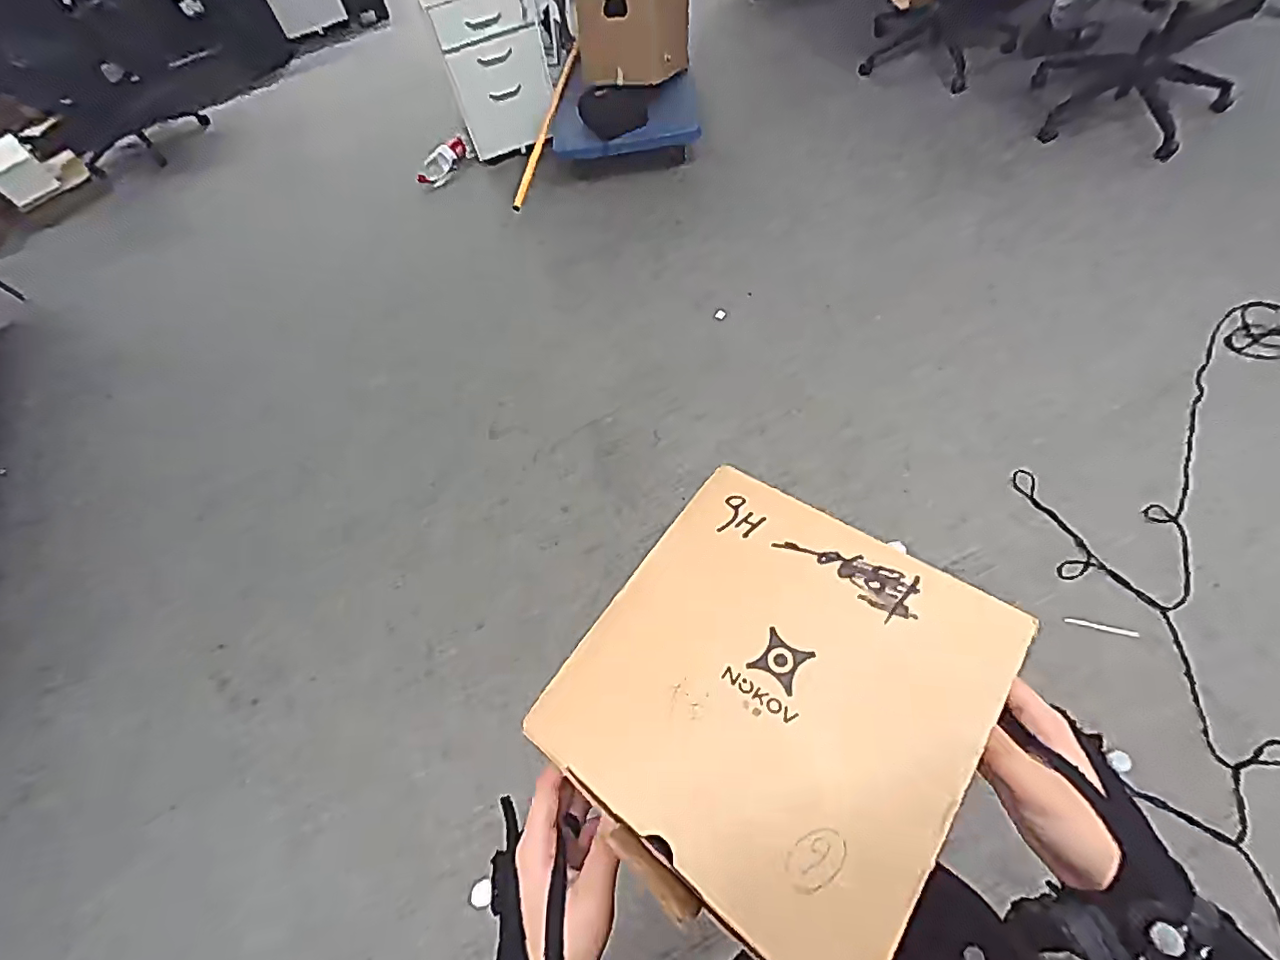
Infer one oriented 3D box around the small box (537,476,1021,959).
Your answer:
[{"bbox_3d":[0.077,0.137,0.321,0.168,0.176,0.179,29,69,28],"label":"small box"}]
